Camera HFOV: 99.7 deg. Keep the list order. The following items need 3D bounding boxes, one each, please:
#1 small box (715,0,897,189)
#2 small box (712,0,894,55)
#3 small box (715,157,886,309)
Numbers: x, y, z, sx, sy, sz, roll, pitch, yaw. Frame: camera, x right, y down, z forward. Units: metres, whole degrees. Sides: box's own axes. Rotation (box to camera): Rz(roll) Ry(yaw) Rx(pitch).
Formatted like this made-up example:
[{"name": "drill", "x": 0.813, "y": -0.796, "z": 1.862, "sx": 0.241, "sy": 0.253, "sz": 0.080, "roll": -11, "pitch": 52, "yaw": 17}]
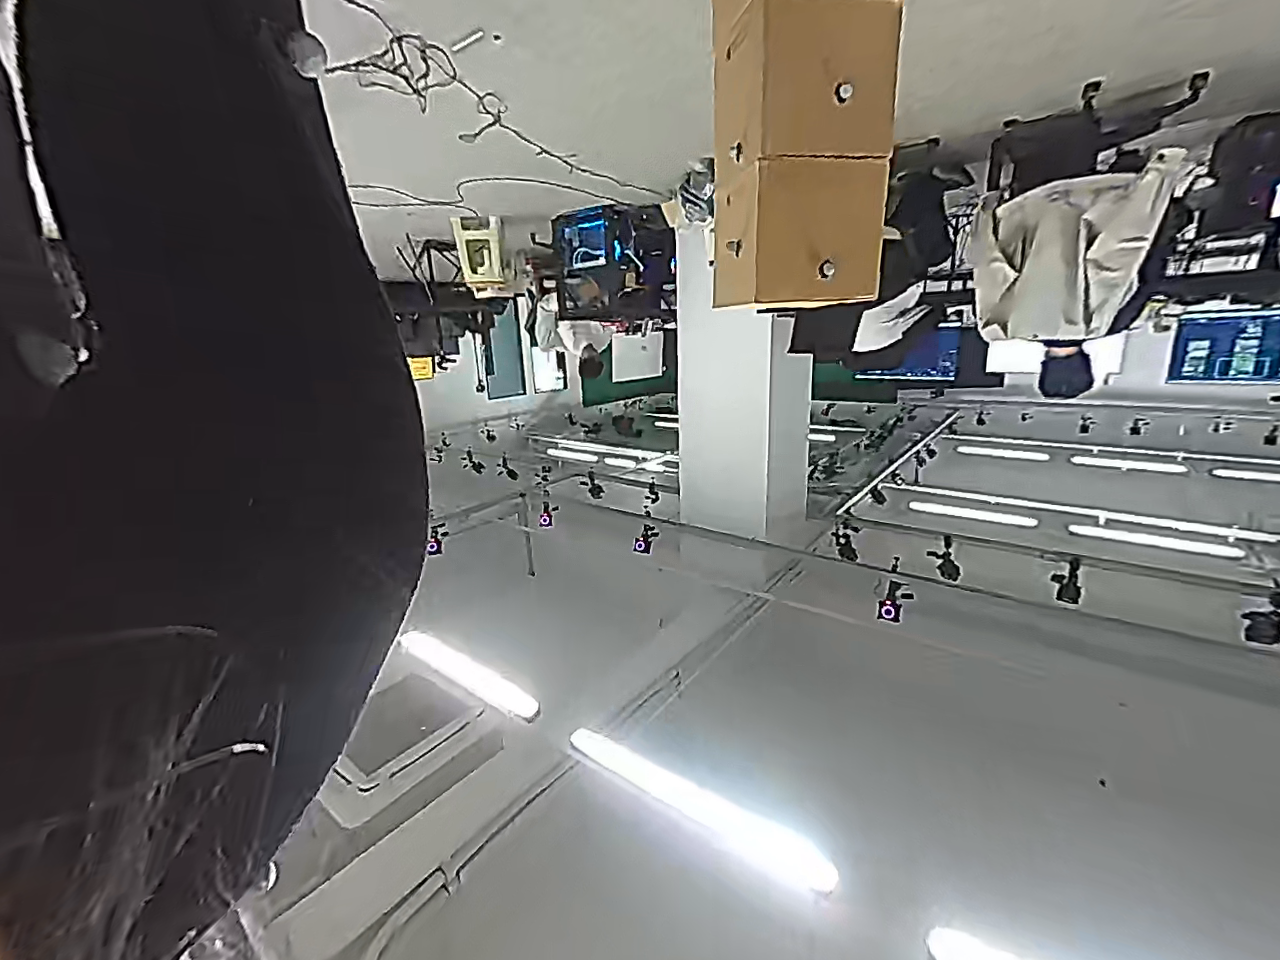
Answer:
[{"name": "small box", "x": 0.206, "y": -0.488, "z": 0.697, "sx": 0.179, "sy": 0.176, "sz": 0.168, "roll": -7, "pitch": -164, "yaw": -10}, {"name": "small box", "x": 0.194, "y": -0.645, "z": 0.652, "sx": 0.179, "sy": 0.176, "sz": 0.168, "roll": -5, "pitch": -164, "yaw": -10}, {"name": "small box", "x": 0.211, "y": -0.332, "z": 0.744, "sx": 0.179, "sy": 0.176, "sz": 0.168, "roll": -6, "pitch": -164, "yaw": -10}]
